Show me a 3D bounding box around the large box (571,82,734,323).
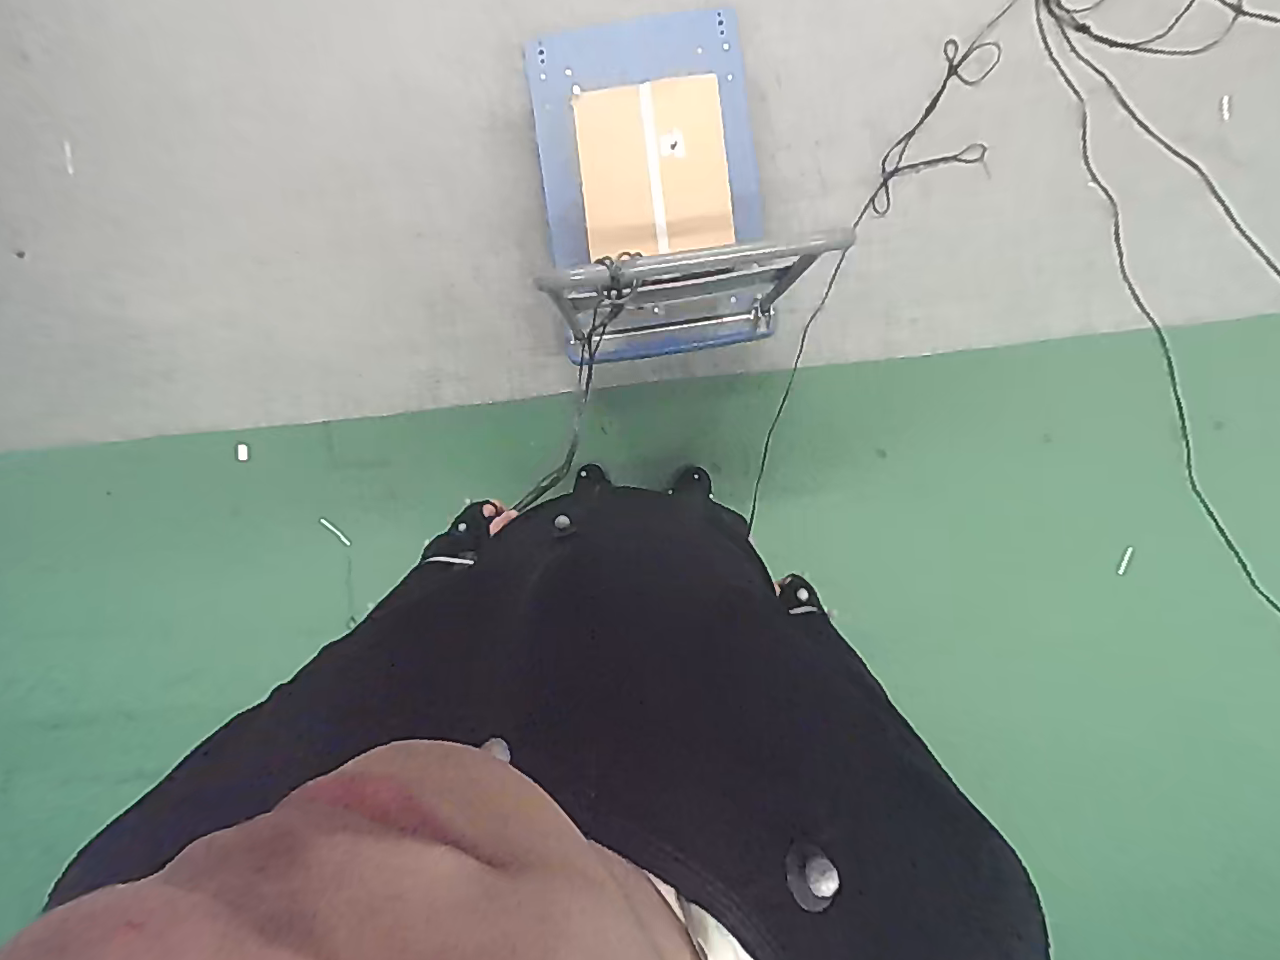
[{"bbox_3d":[0.032,-0.637,1.308,0.320,0.320,0.408,-7,91,1],"label":"large box"}]
